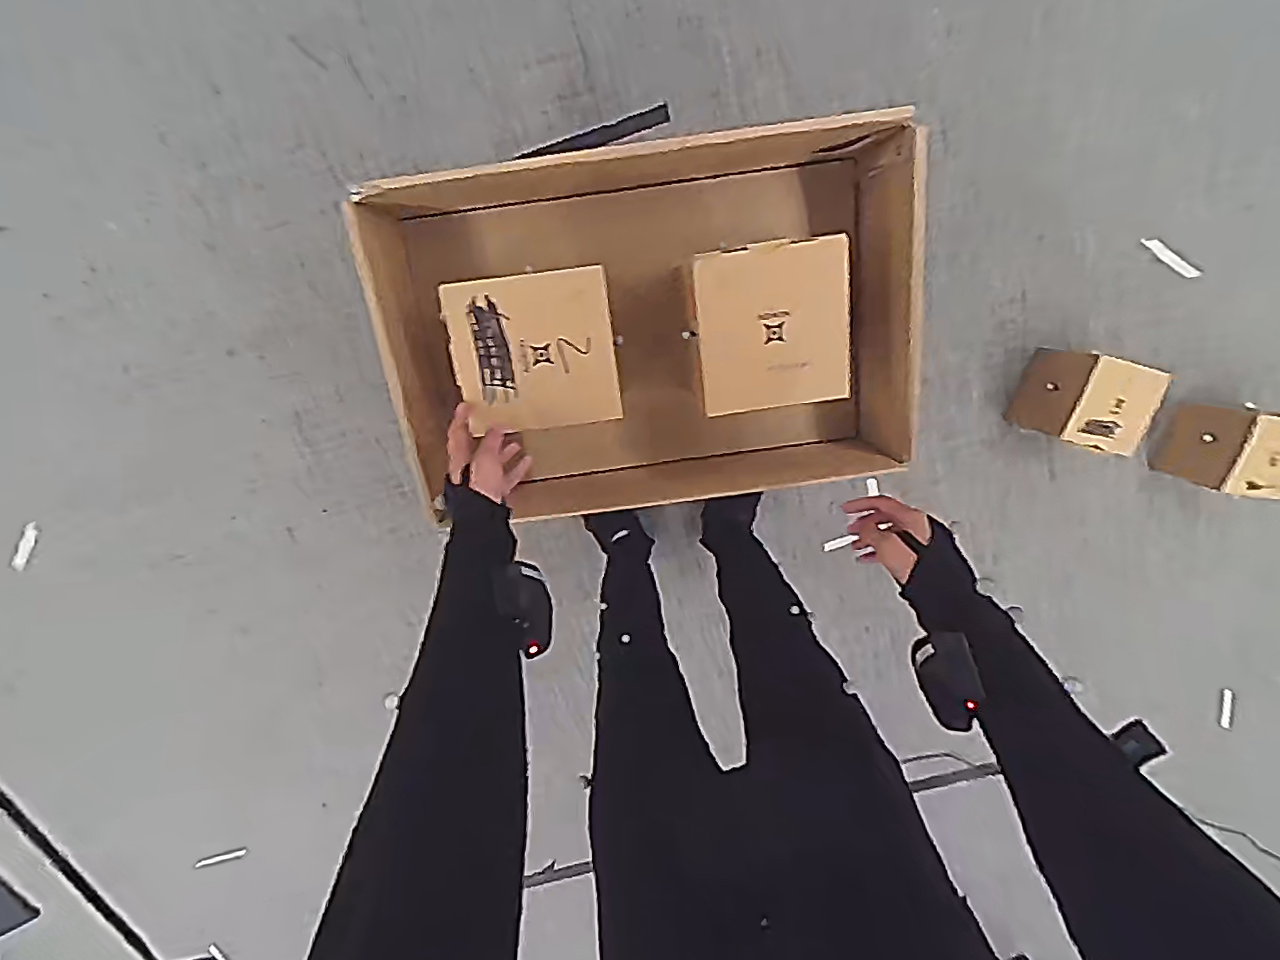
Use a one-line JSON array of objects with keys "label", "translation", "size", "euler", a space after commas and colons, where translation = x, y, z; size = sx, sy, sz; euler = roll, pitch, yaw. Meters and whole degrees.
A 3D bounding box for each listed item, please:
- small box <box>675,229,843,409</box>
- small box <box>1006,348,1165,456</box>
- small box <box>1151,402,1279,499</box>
[{"label": "small box", "translation": [0.138, -0.194, 0.668], "size": [0.168, 0.176, 0.179], "euler": [-8, 107, 1]}, {"label": "small box", "translation": [0.932, -0.172, 1.154], "size": [0.168, 0.176, 0.179], "euler": [13, 107, -7]}, {"label": "small box", "translation": [1.311, -0.072, 1.205], "size": [0.168, 0.176, 0.179], "euler": [7, 107, -4]}]
